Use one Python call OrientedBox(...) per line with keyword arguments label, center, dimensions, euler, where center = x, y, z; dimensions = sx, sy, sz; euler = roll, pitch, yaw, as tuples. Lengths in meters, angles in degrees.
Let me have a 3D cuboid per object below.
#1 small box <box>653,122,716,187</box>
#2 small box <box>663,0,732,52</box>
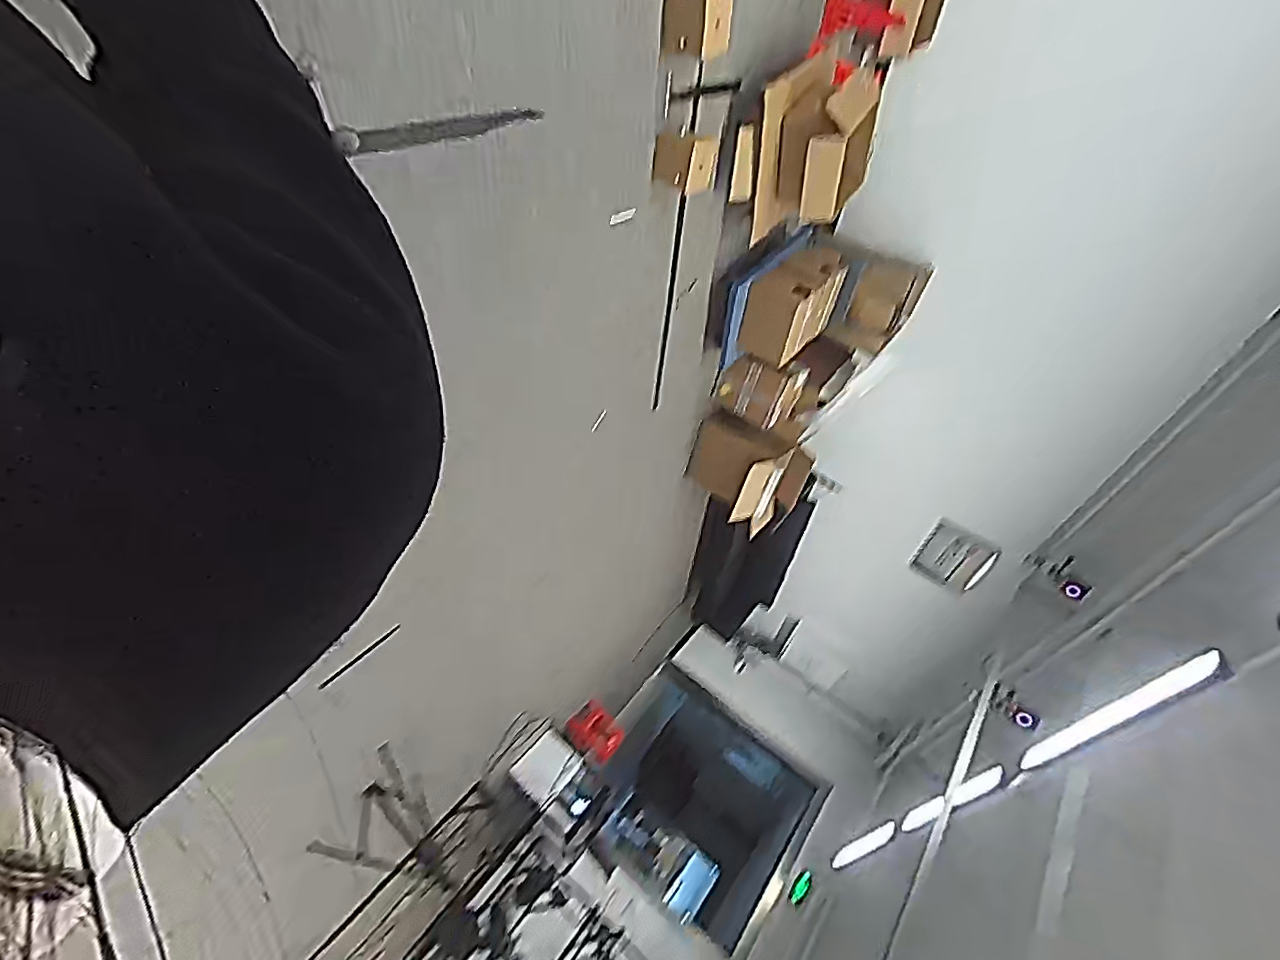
OrientedBox(label="small box", center=(0.172, -1.292, 2.143), dimensions=(0.168, 0.176, 0.179), euler=(-38, 151, -39))
OrientedBox(label="small box", center=(0.190, -1.574, 1.814), dimensions=(0.168, 0.176, 0.179), euler=(-44, 153, -30))
